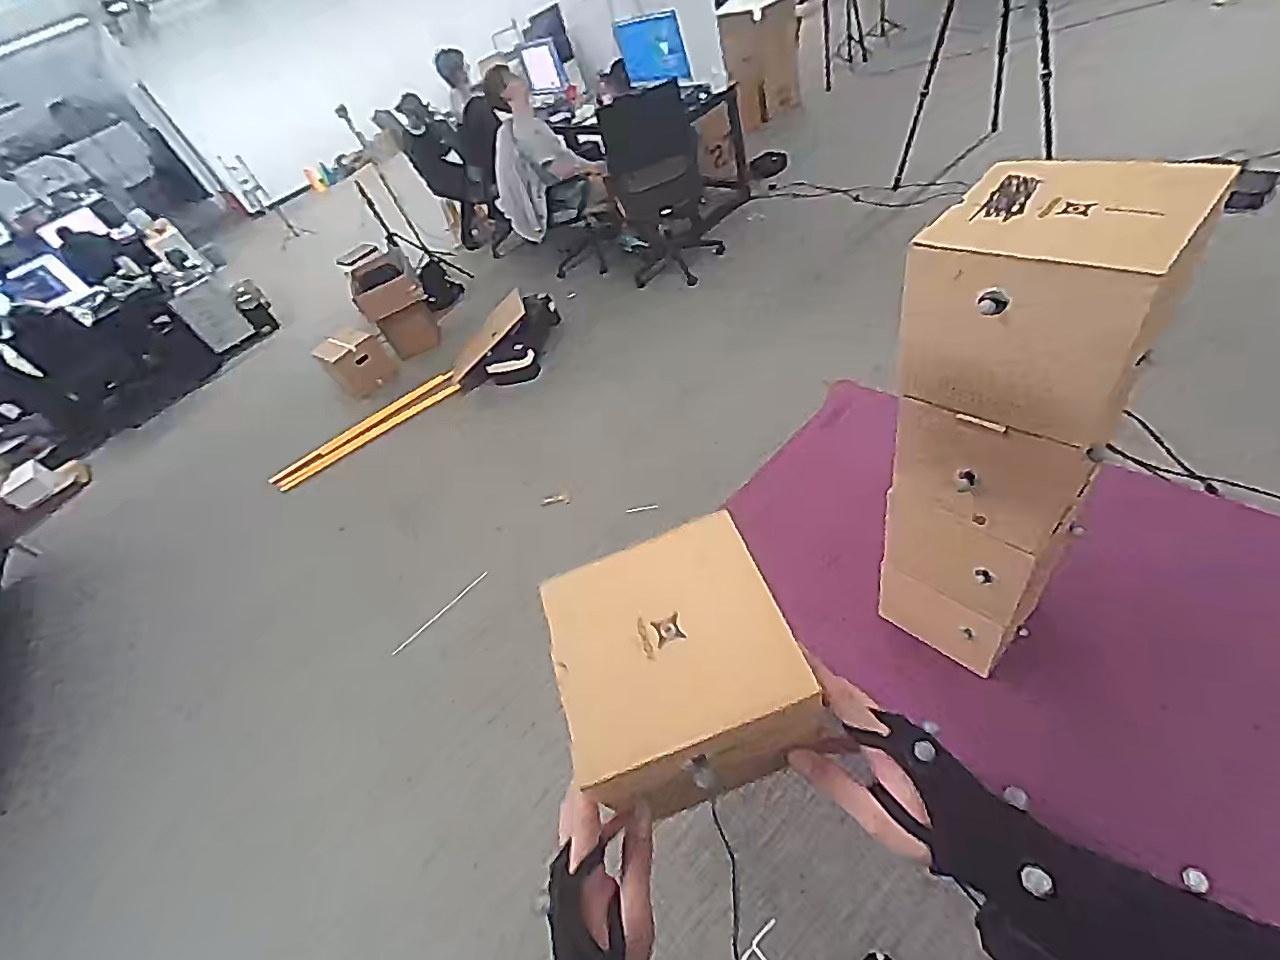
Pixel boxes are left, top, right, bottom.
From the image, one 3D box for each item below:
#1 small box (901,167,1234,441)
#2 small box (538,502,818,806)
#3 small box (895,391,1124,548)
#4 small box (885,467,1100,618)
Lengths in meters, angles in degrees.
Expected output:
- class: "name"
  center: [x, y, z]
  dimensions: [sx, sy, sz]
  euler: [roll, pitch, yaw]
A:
- class: "small box"
  center: [0.363, -0.162, 0.496]
  dimensions: [0.168, 0.176, 0.179]
  euler: [-42, 48, -20]
- class: "small box"
  center: [0.035, 0.154, 0.464]
  dimensions: [0.179, 0.176, 0.168]
  euler: [-23, 49, 2]
- class: "small box"
  center: [0.411, -0.055, 0.612]
  dimensions: [0.179, 0.176, 0.168]
  euler: [-43, 48, -19]
- class: "small box"
  center: [0.453, 0.058, 0.722]
  dimensions: [0.168, 0.176, 0.179]
  euler: [-41, 46, -18]
